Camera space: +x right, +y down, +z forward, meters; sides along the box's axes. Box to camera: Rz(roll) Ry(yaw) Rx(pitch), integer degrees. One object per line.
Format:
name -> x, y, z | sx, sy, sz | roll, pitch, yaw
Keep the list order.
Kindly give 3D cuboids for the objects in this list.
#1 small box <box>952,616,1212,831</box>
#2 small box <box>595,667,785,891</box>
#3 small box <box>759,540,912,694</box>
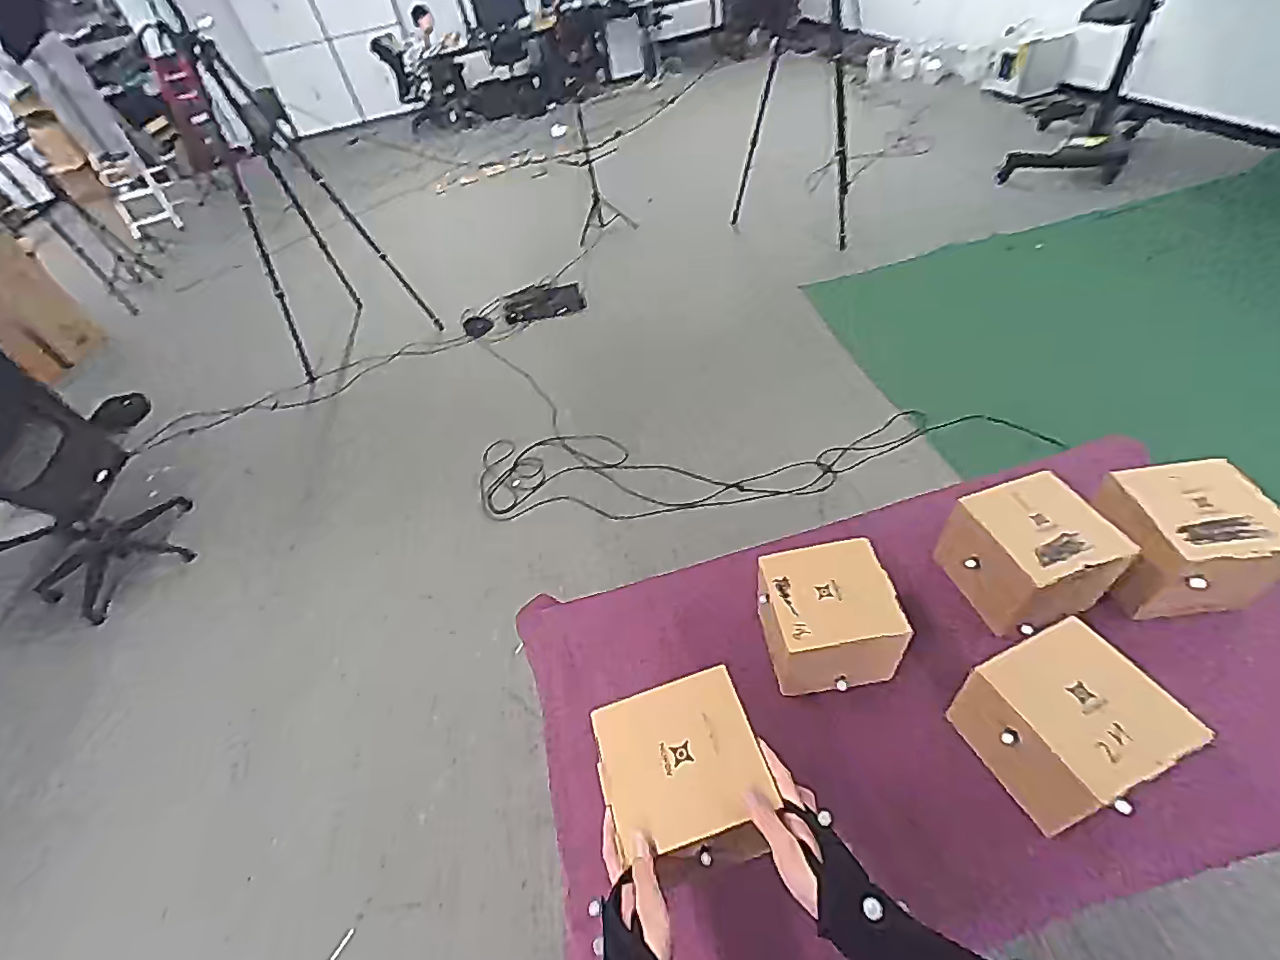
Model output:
small box -> 0.550, 0.318, 0.708 | 0.168, 0.176, 0.179 | -23, 46, -9
small box -> 0.062, 0.361, 0.649 | 0.179, 0.176, 0.168 | -18, 43, -2
small box -> 0.293, 0.219, 0.857 | 0.179, 0.176, 0.168 | -10, 46, 3
